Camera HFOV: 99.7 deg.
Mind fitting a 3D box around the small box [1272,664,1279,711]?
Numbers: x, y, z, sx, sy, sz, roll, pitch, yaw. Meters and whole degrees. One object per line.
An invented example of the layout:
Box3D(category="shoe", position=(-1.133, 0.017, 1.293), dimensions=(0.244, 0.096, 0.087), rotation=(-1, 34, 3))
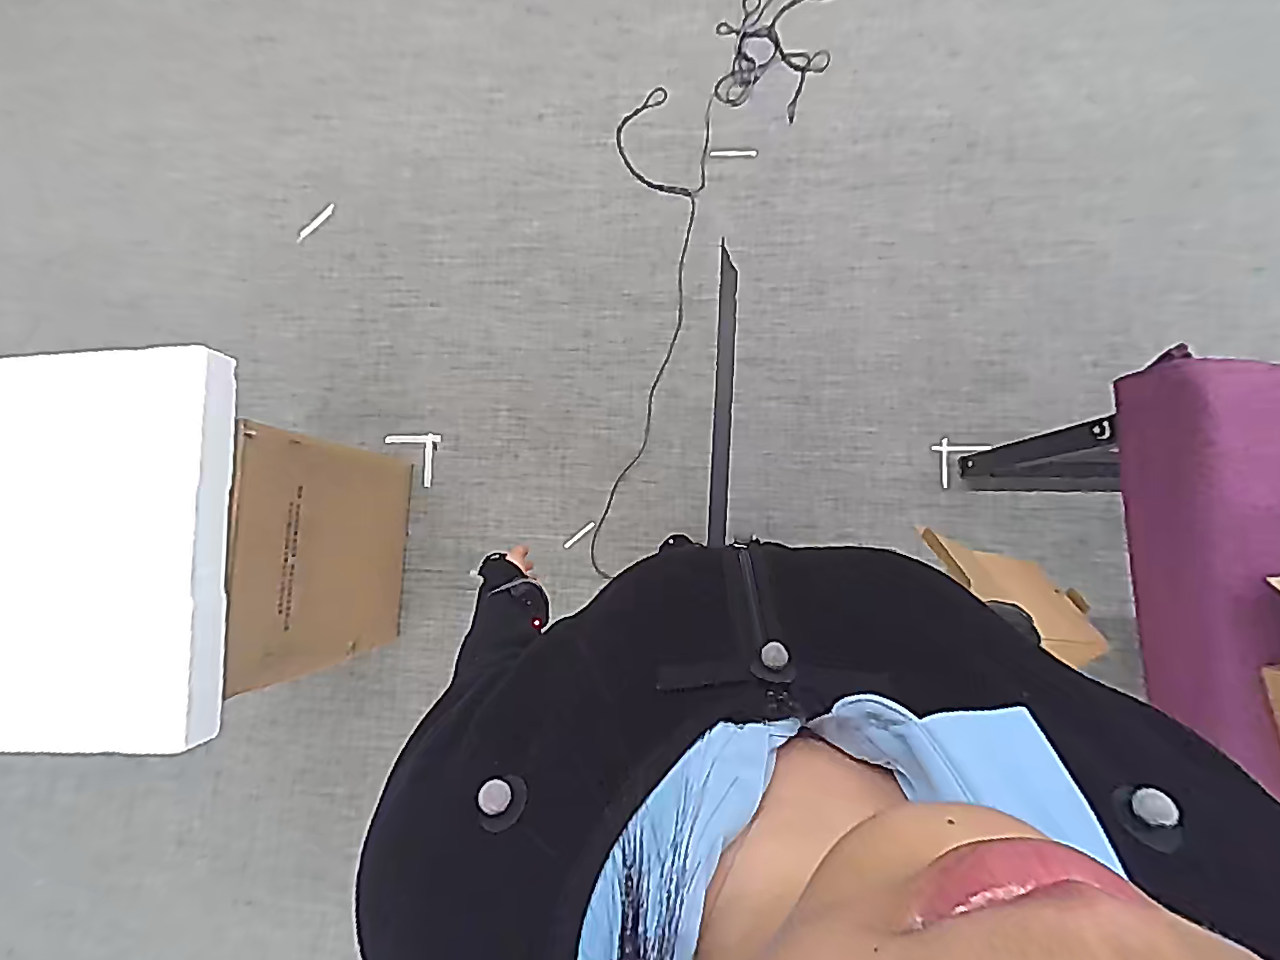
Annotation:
Box3D(category="small box", position=(0.883, 0.297, 0.597), dimensions=(0.168, 0.176, 0.179), rotation=(-9, 82, 4))
